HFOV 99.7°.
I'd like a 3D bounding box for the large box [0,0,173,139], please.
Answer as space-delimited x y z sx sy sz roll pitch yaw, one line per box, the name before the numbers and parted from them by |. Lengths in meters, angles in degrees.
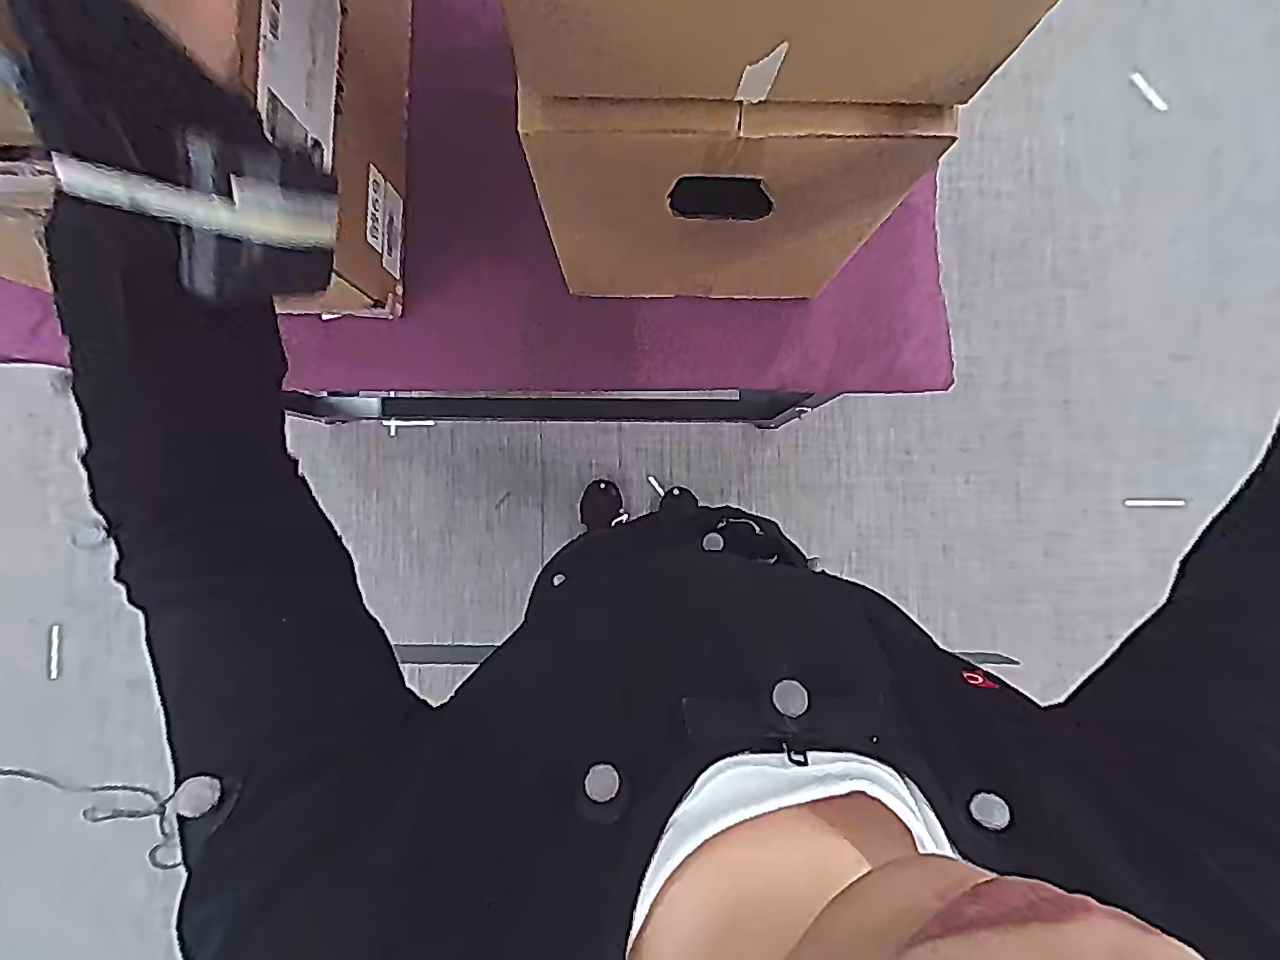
large box | -0.472 -0.432 0.222 0.320 0.320 0.408 0 89 2
